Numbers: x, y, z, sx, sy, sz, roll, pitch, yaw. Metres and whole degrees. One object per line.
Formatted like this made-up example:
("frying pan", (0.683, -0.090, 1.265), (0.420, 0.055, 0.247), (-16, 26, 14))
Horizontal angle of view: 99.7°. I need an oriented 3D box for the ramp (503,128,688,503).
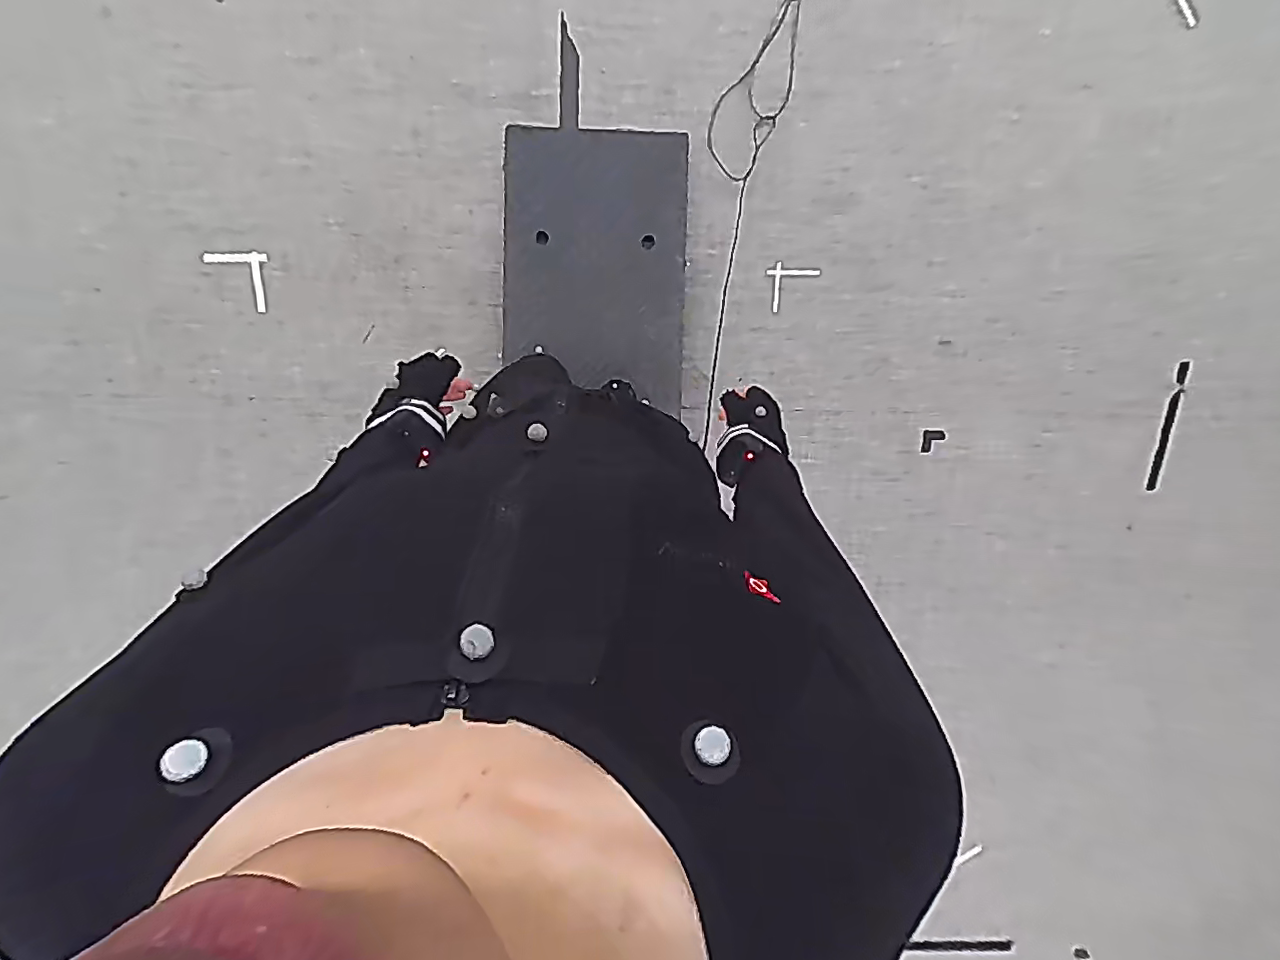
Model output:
("ramp", (-0.125, -0.437, 1.467), (0.509, 0.206, 0.991), (0, 102, 0))
